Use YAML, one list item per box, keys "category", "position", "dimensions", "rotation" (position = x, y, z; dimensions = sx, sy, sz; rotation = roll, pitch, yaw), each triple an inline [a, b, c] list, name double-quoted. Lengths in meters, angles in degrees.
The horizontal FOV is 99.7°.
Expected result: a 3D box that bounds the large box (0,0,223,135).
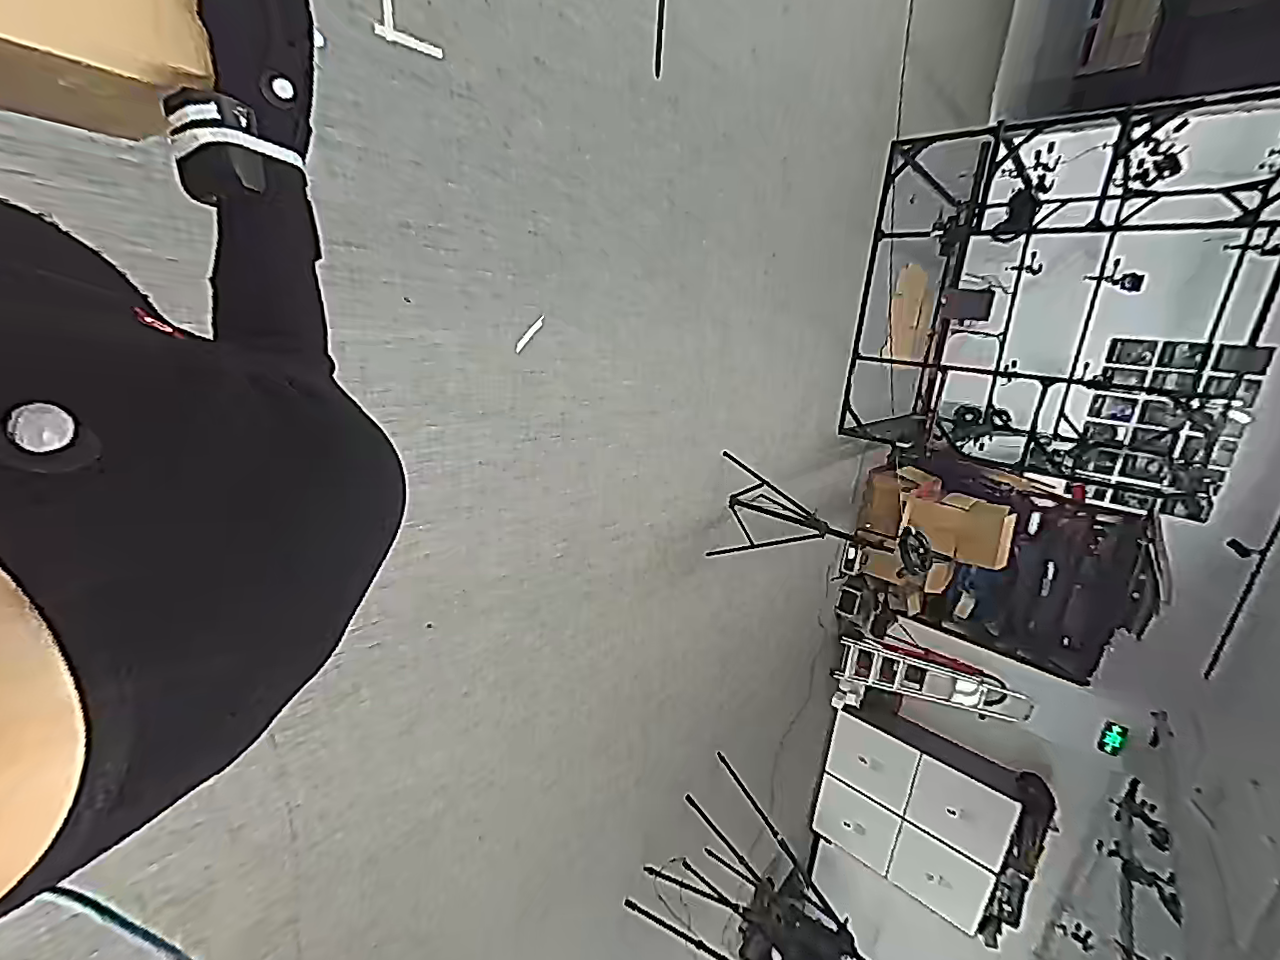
- category: "large box"
  position: [-0.548, -0.450, 0.315]
  dimensions: [0.408, 0.320, 0.320]
  rotation: [-13, 117, -50]
